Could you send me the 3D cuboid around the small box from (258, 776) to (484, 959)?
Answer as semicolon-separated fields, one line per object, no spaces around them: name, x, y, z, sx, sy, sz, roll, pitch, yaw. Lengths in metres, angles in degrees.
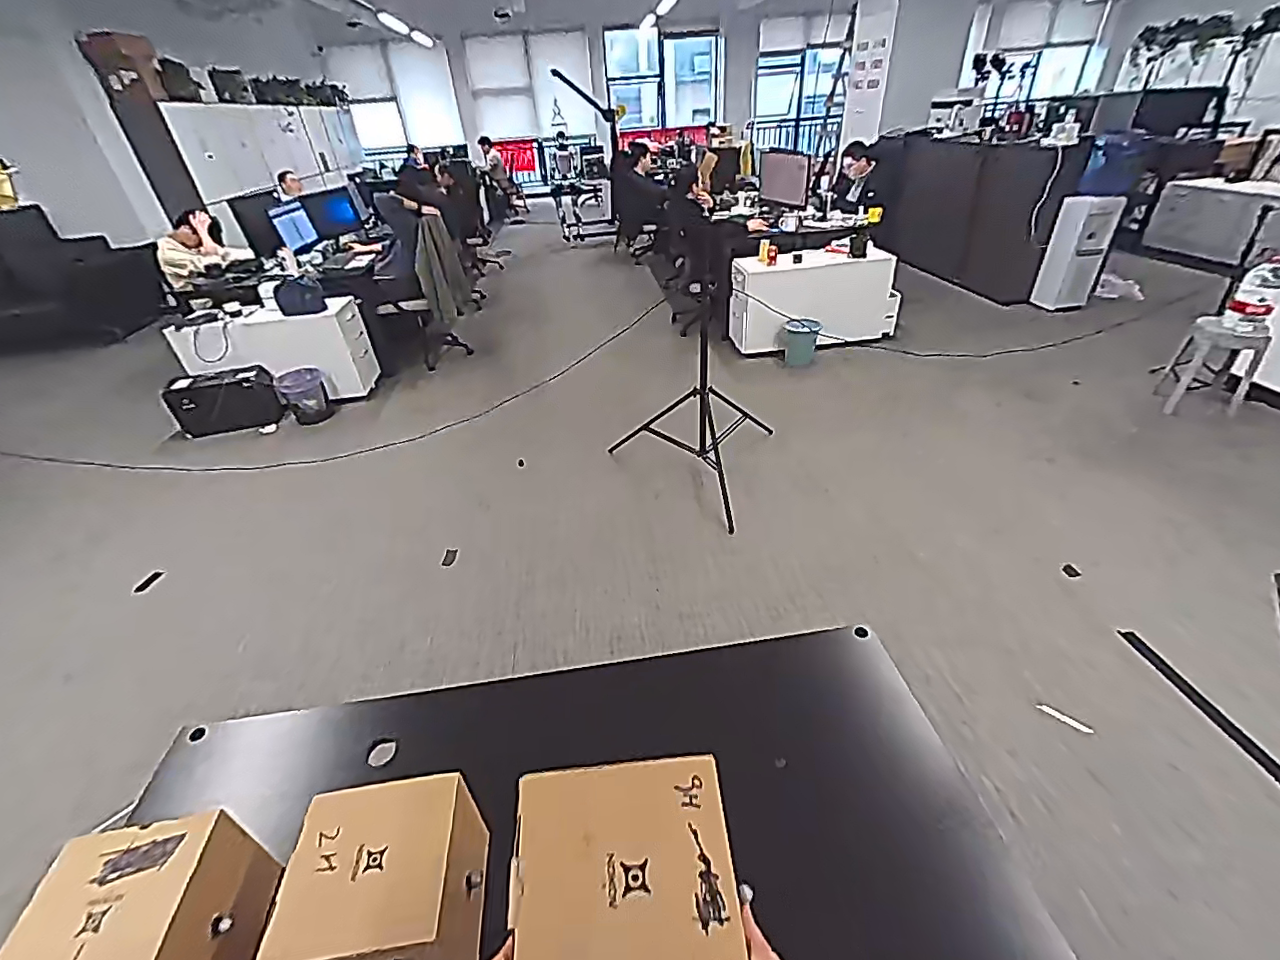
small box;-0.290;0.481;0.633;0.179;0.176;0.168;-7;34;-4

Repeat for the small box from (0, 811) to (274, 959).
small box;-0.554;0.518;0.610;0.168;0.176;0.179;-9;36;-6

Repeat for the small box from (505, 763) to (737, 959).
small box;-0.015;0.378;0.491;0.179;0.176;0.168;-5;48;-2
